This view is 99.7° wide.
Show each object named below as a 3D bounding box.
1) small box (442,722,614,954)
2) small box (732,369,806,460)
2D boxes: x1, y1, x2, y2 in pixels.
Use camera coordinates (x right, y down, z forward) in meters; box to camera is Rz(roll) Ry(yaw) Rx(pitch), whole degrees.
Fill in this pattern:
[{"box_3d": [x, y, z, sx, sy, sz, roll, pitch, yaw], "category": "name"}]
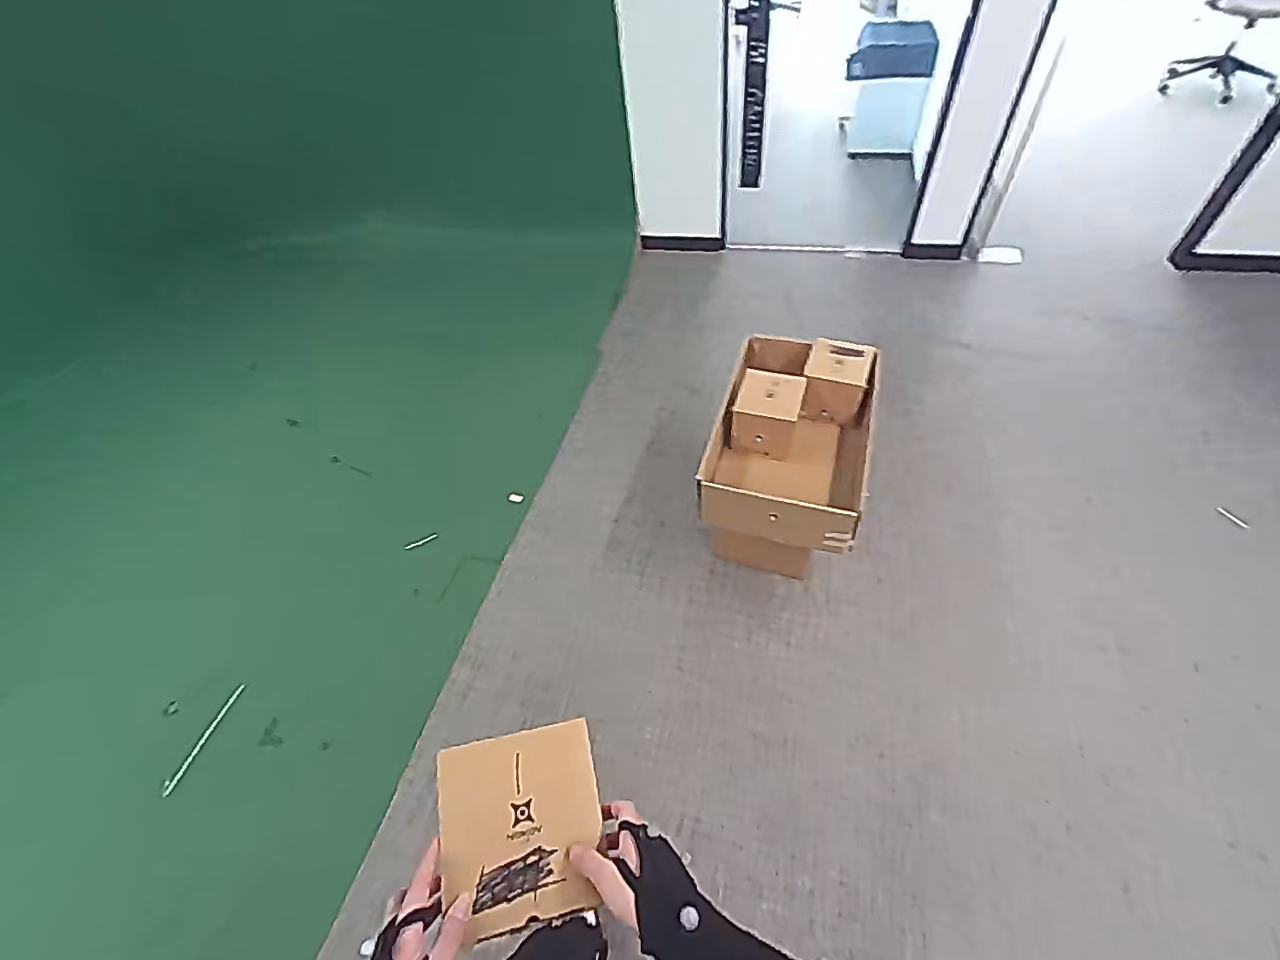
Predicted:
[{"box_3d": [-0.129, 0.398, 0.622, 0.168, 0.176, 0.179, -6, 58, -13], "category": "small box"}, {"box_3d": [0.356, -0.179, 1.508, 0.168, 0.176, 0.179, 13, 54, 16], "category": "small box"}]
